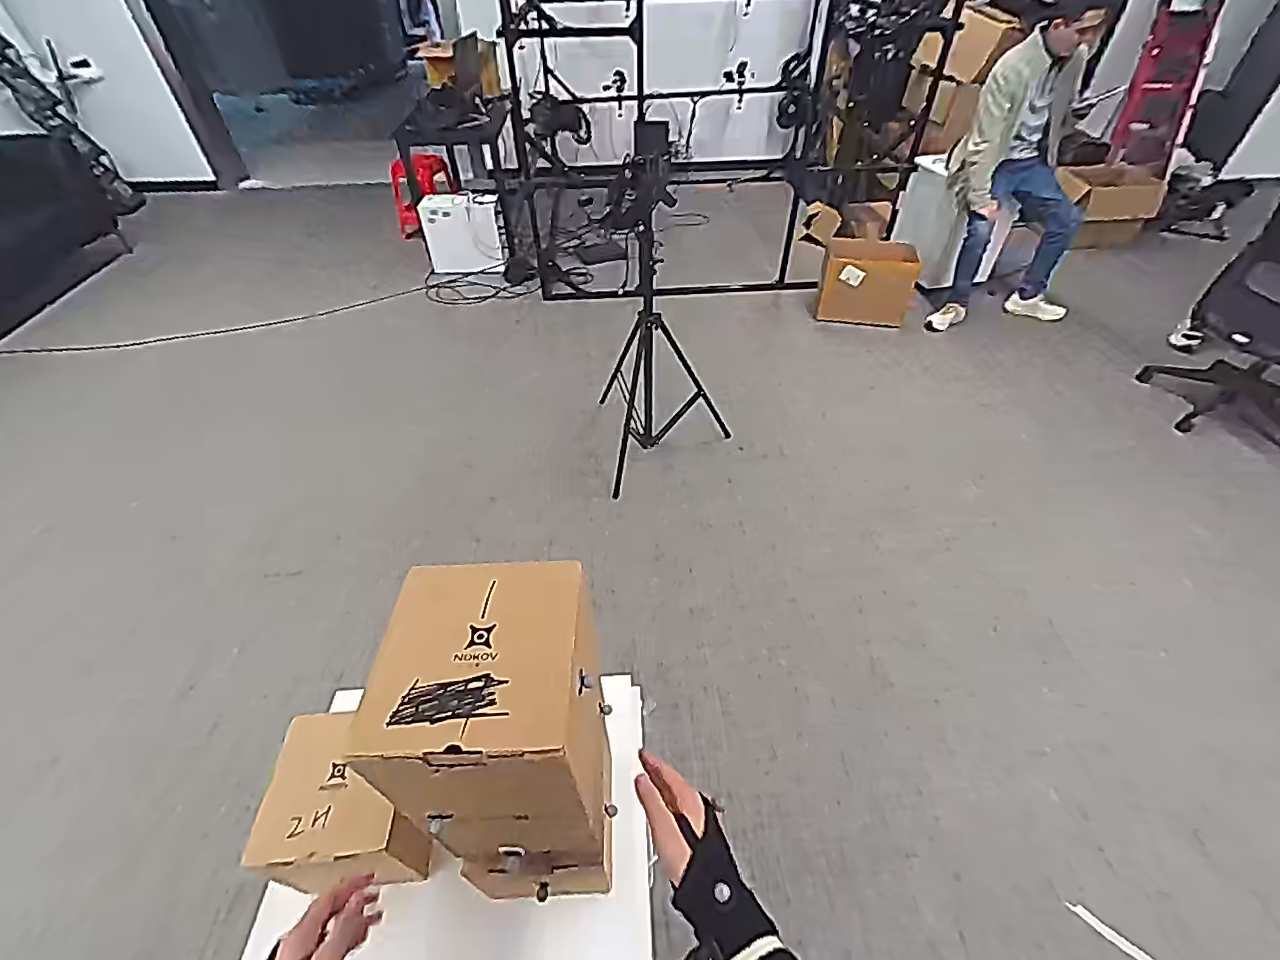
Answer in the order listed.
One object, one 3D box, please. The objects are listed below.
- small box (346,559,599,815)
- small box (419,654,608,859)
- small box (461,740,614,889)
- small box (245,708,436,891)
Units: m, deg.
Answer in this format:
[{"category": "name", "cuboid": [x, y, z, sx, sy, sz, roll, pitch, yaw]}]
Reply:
[{"category": "small box", "cuboid": [-0.129, 0.195, 0.503, 0.168, 0.176, 0.179, -2, 43, 1]}, {"category": "small box", "cuboid": [-0.127, 0.311, 0.621, 0.168, 0.176, 0.179, -3, 45, 0]}, {"category": "small box", "cuboid": [-0.123, 0.434, 0.728, 0.168, 0.176, 0.179, -3, 46, 0]}, {"category": "small box", "cuboid": [-0.378, 0.430, 0.736, 0.168, 0.176, 0.179, -4, 45, -3]}]
